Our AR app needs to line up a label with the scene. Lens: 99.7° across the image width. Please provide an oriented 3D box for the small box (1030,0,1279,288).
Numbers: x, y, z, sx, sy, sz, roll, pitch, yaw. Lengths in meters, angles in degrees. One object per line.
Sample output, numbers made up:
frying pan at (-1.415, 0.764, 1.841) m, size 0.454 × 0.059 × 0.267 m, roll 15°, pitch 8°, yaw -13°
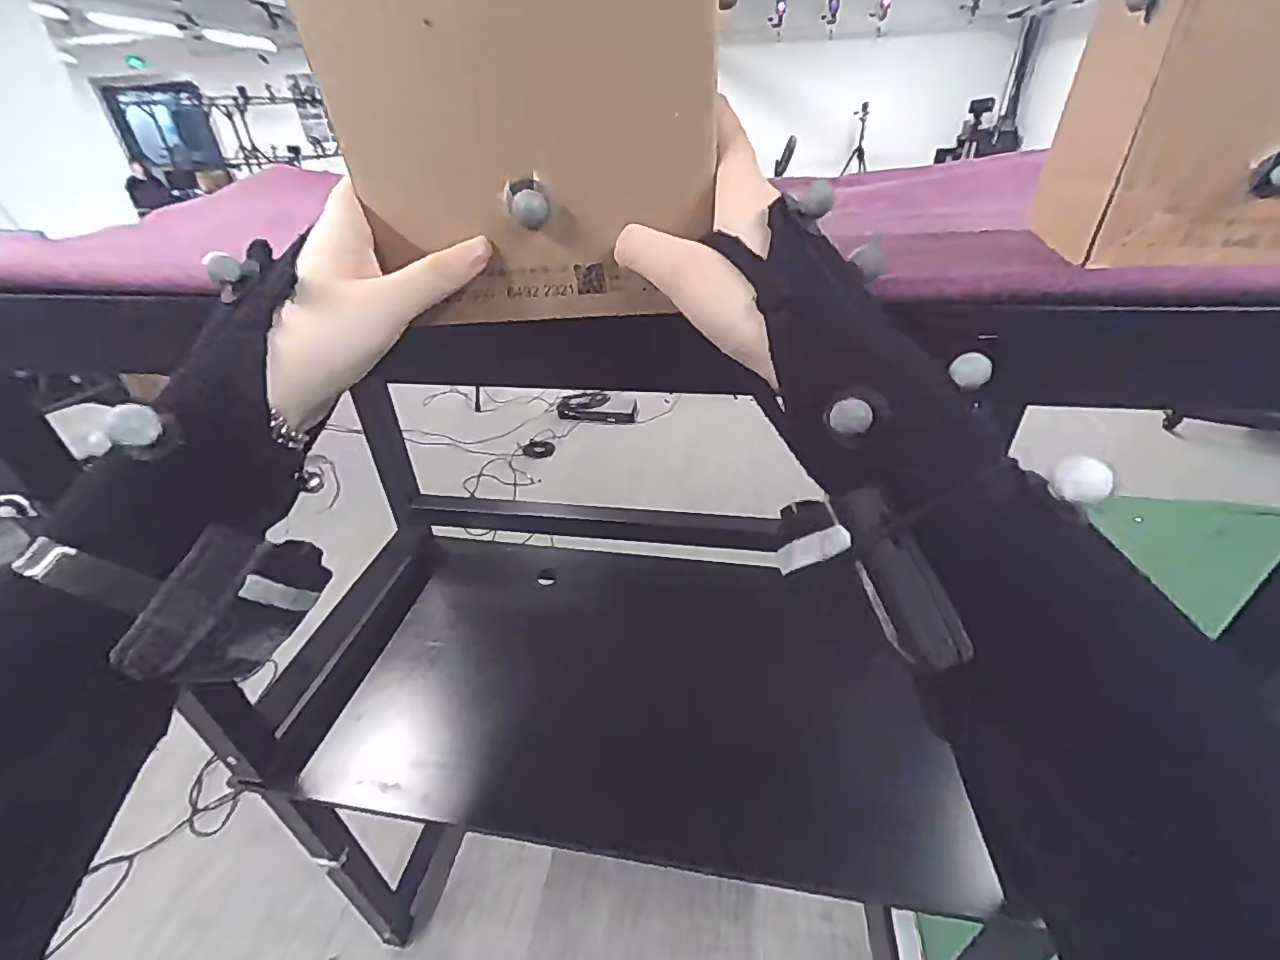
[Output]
small box at (0.372, -0.224, 0.329) m, size 0.168 × 0.176 × 0.179 m, roll 10°, pitch 37°, yaw 17°

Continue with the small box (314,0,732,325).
small box at (-0.041, -0.198, 0.290) m, size 0.168 × 0.176 × 0.179 m, roll -2°, pitch 41°, yaw 5°
